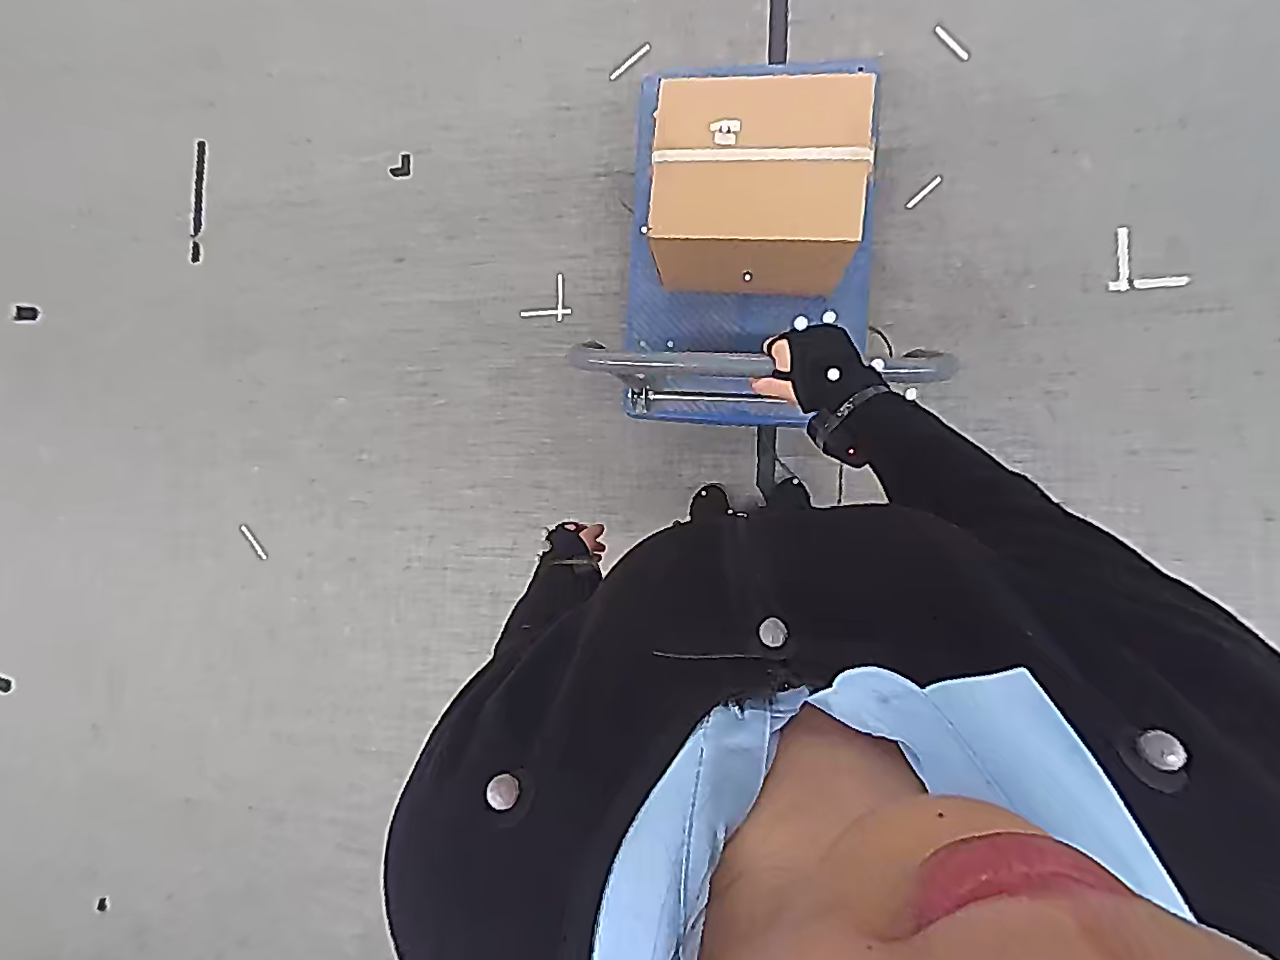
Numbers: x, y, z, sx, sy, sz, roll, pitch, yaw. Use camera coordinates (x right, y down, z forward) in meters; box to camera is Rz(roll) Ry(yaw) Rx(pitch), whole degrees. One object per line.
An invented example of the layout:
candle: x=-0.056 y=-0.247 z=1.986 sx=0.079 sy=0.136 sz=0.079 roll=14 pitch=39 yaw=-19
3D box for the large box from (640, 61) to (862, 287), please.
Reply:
large box: x=0.229 y=-0.617 z=1.159 sx=0.408 sy=0.320 sz=0.320 roll=4 pitch=89 yaw=10
